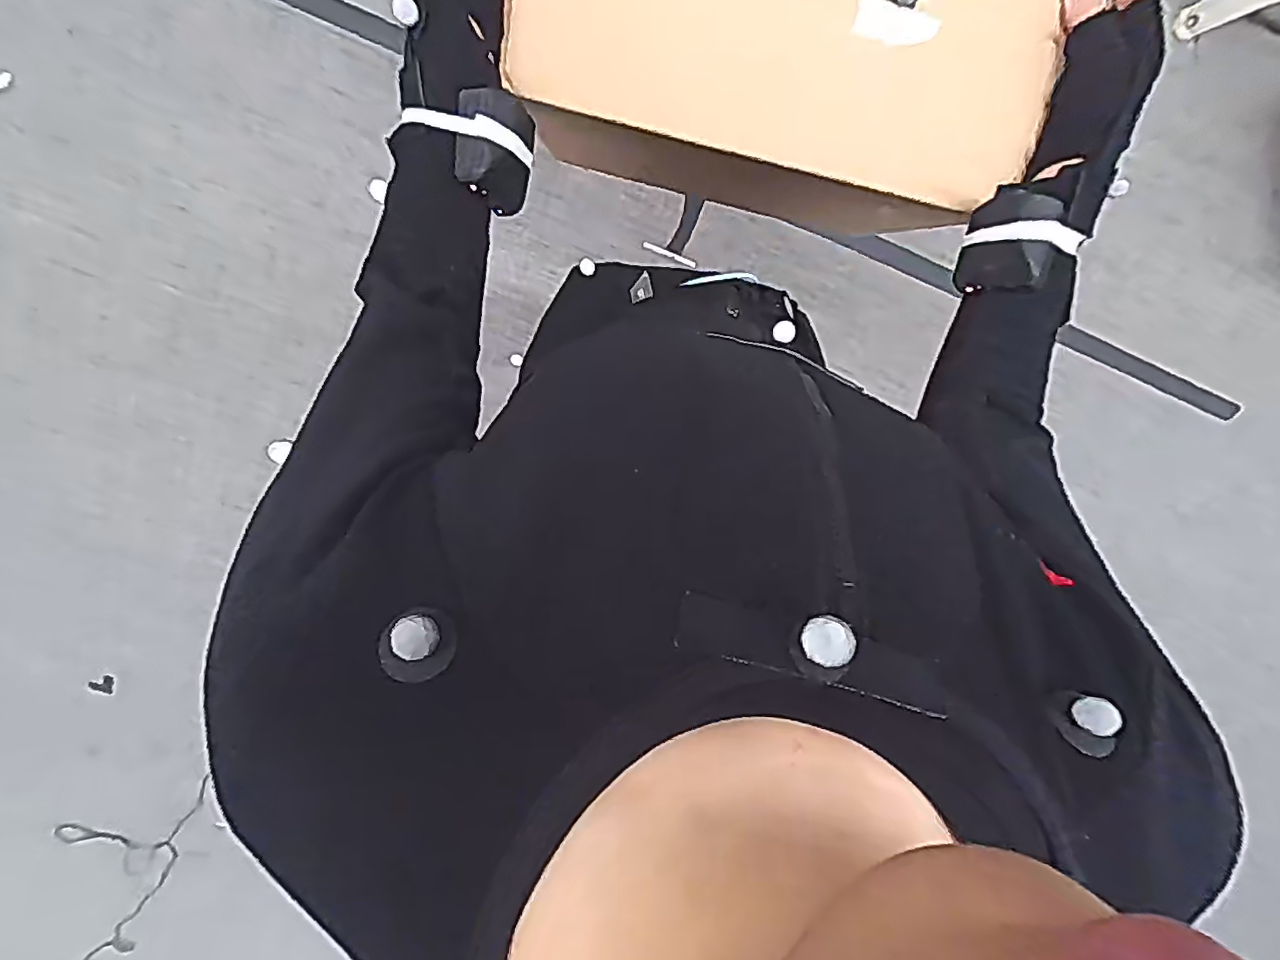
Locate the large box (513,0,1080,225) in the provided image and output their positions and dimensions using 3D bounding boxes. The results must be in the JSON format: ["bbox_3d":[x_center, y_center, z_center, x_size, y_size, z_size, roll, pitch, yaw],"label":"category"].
[{"bbox_3d":[0.121,-0.452,0.503,0.408,0.320,0.320,11,113,-7],"label":"large box"}]
